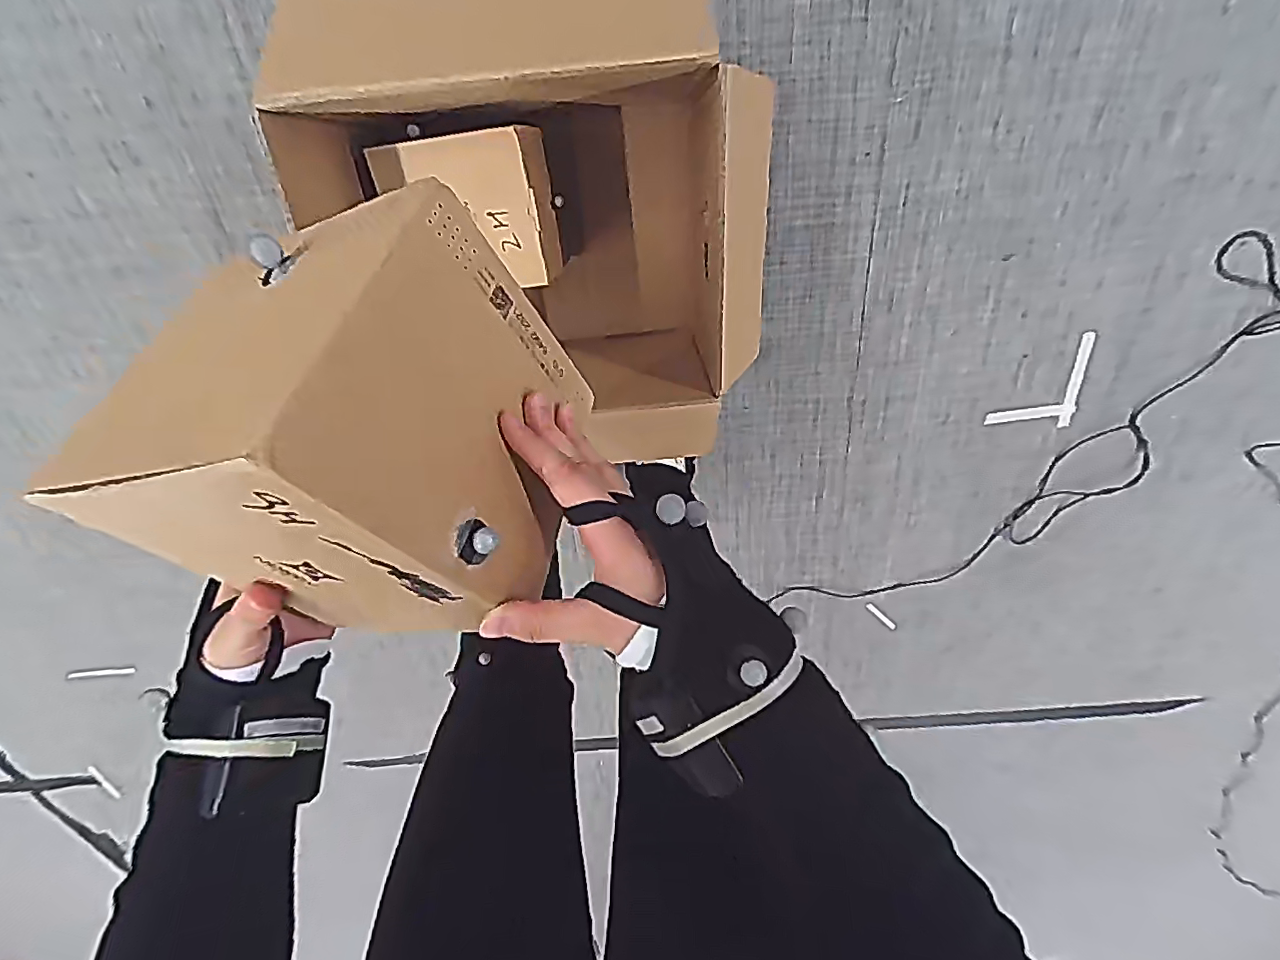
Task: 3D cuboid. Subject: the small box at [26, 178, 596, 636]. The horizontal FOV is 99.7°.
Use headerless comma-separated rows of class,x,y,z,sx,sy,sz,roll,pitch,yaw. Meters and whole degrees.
small box,-0.147,-0.027,0.301,0.179,0.176,0.168,-5,145,25
